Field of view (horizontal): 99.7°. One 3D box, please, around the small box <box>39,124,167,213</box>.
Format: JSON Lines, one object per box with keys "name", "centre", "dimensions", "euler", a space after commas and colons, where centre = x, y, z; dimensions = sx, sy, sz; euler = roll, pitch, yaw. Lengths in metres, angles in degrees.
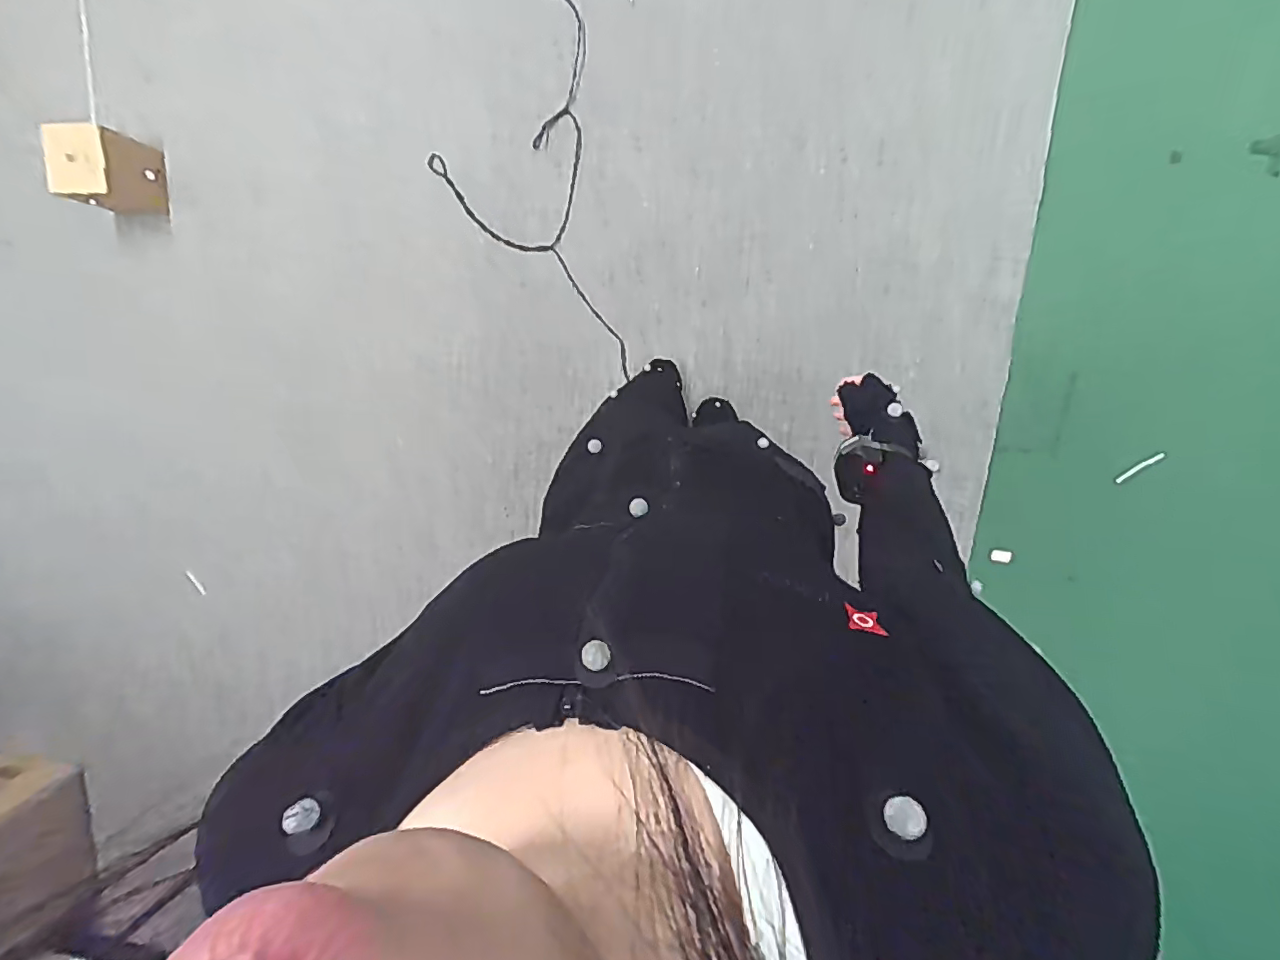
{"name": "small box", "centre": [-1.431, -0.826, 1.449], "dimensions": [0.179, 0.176, 0.168], "euler": [4, 101, 7]}
